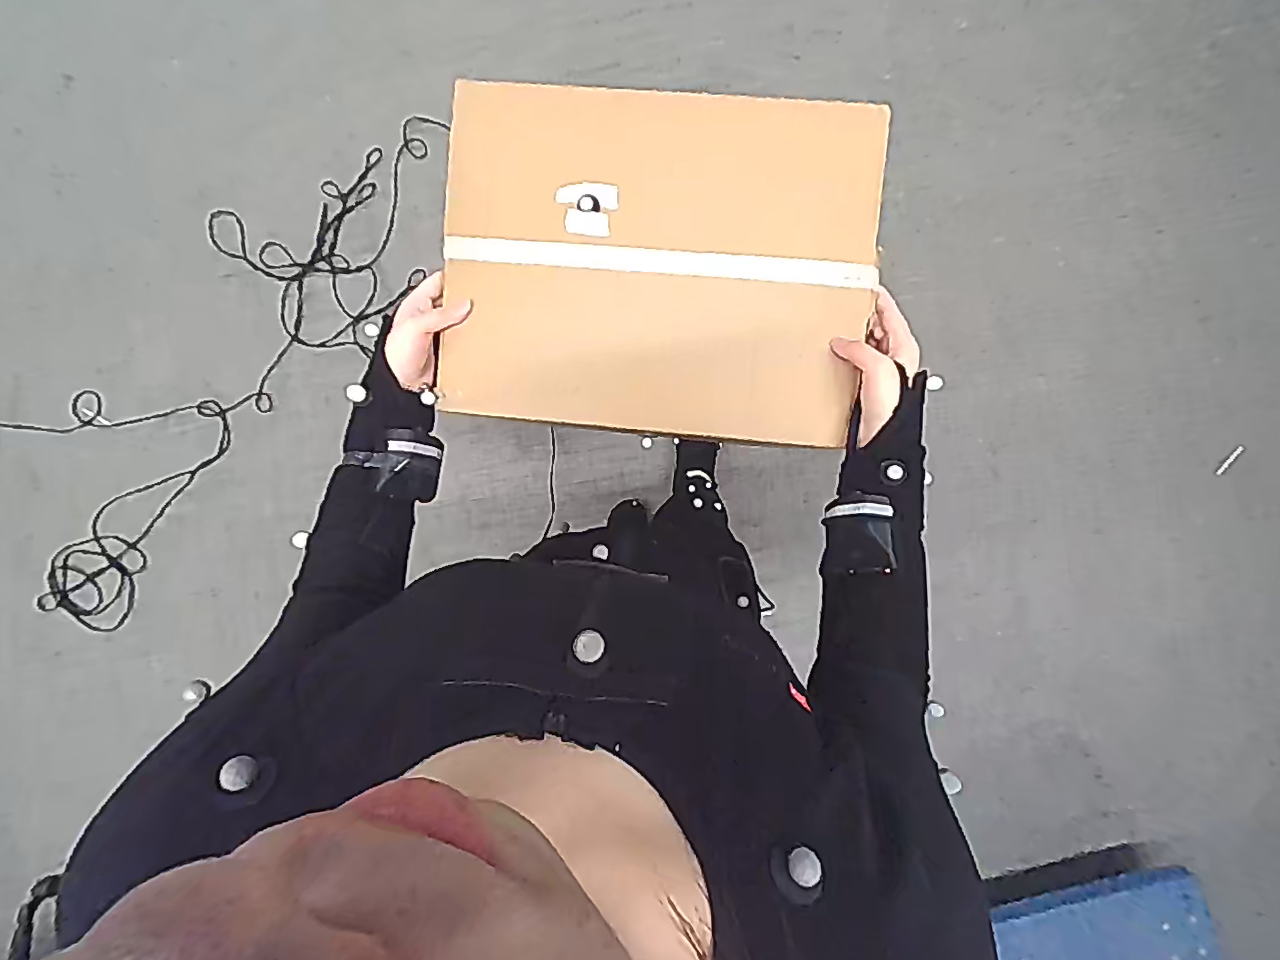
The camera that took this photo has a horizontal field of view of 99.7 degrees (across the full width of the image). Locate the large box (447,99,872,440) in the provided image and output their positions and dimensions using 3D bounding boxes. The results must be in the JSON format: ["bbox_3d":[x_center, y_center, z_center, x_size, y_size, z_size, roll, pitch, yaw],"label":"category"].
[{"bbox_3d":[0.023,-0.219,0.673,0.408,0.320,0.320,5,94,5],"label":"large box"}]
